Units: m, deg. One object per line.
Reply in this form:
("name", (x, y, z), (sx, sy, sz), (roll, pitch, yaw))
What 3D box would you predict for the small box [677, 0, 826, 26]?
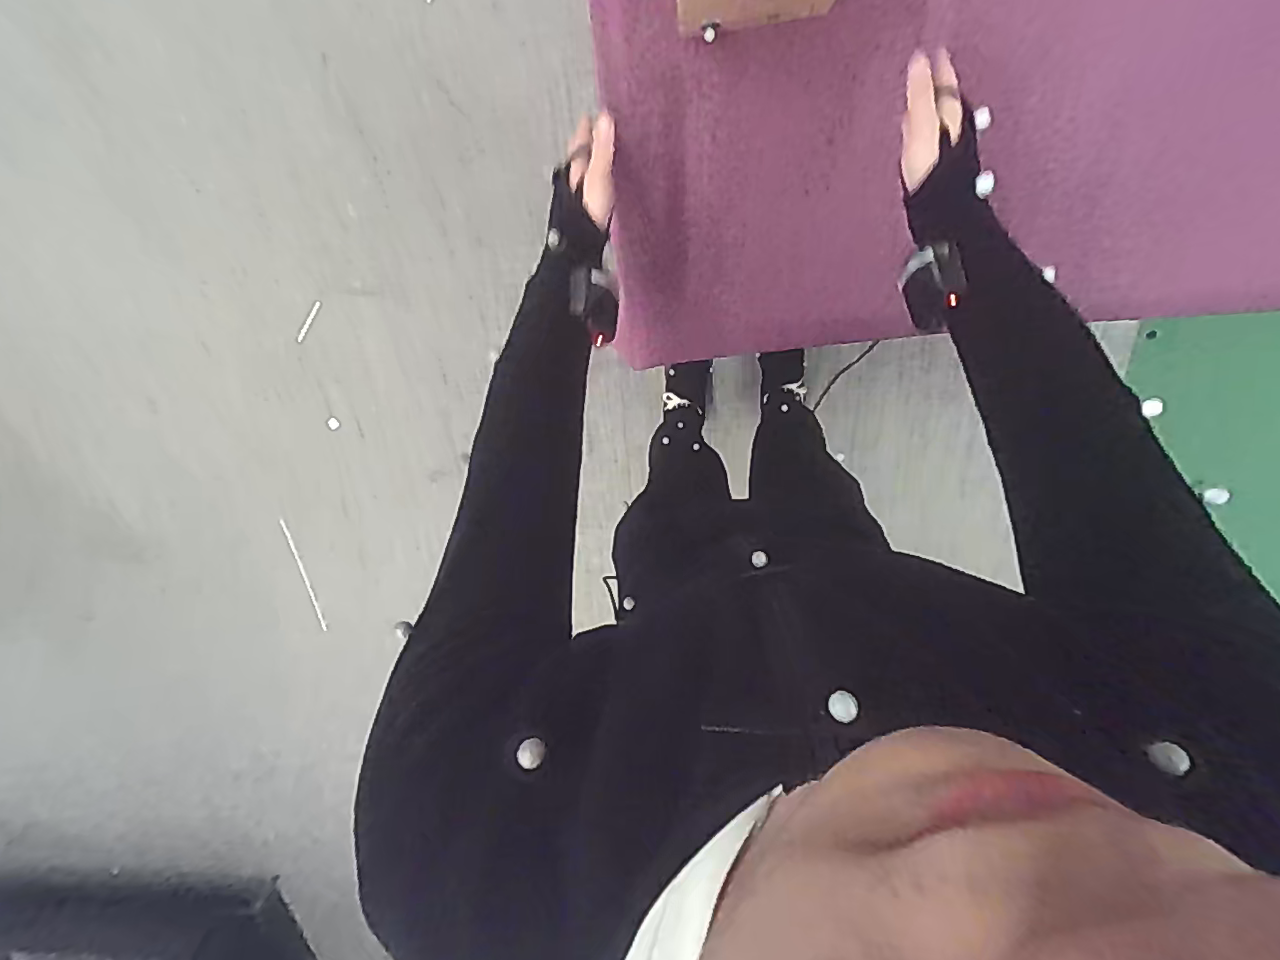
("small box", (0.111, -0.559, 0.502), (0.168, 0.176, 0.179), (-4, 113, 6))
